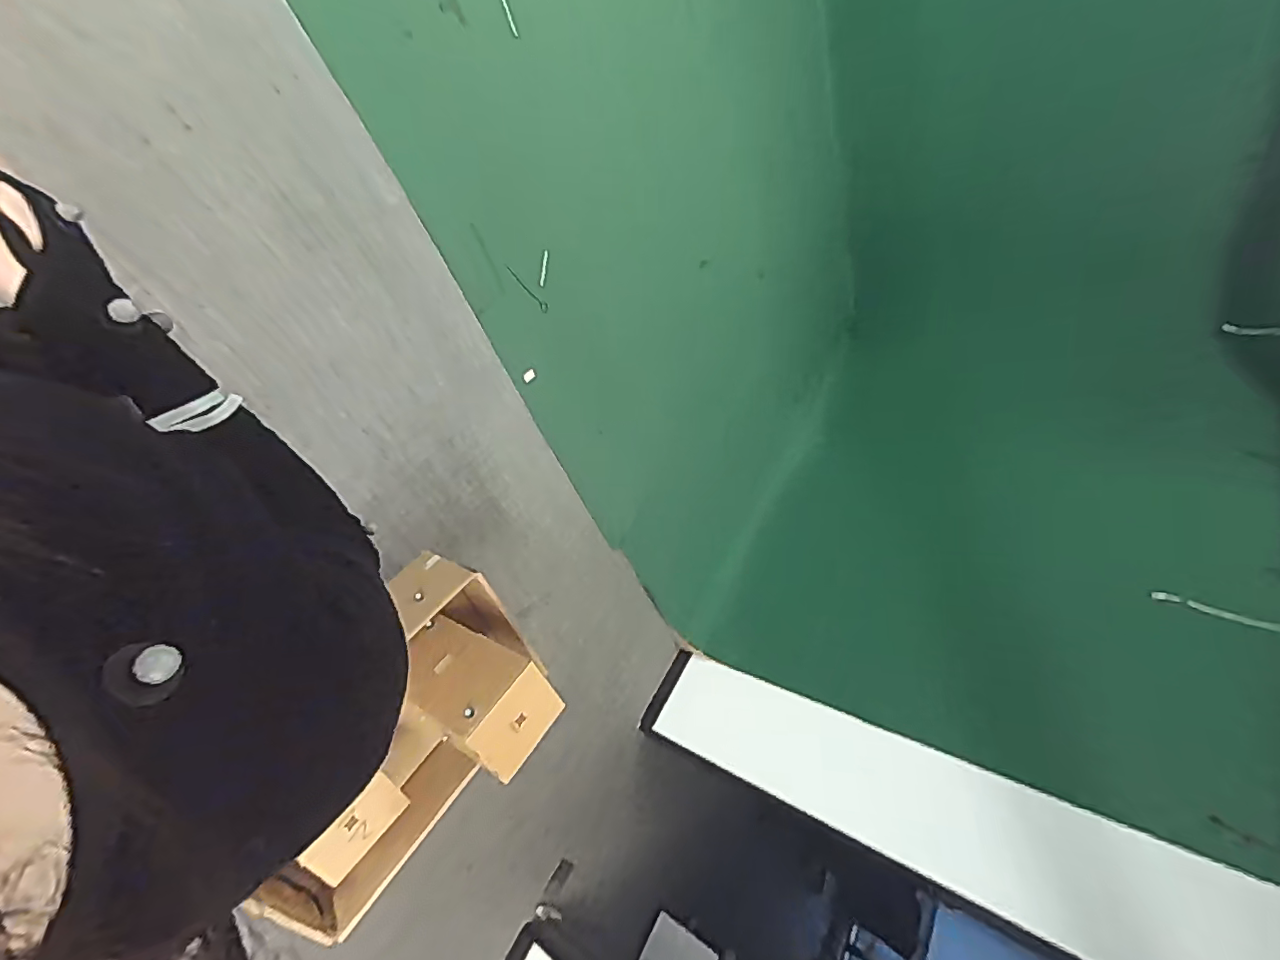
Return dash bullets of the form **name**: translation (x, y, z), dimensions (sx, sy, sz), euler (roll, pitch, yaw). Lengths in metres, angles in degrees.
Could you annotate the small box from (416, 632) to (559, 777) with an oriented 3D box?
- **small box**: translation (-0.298, 0.431, 1.066), dimensions (0.179, 0.176, 0.168), euler (-48, 133, -32)
